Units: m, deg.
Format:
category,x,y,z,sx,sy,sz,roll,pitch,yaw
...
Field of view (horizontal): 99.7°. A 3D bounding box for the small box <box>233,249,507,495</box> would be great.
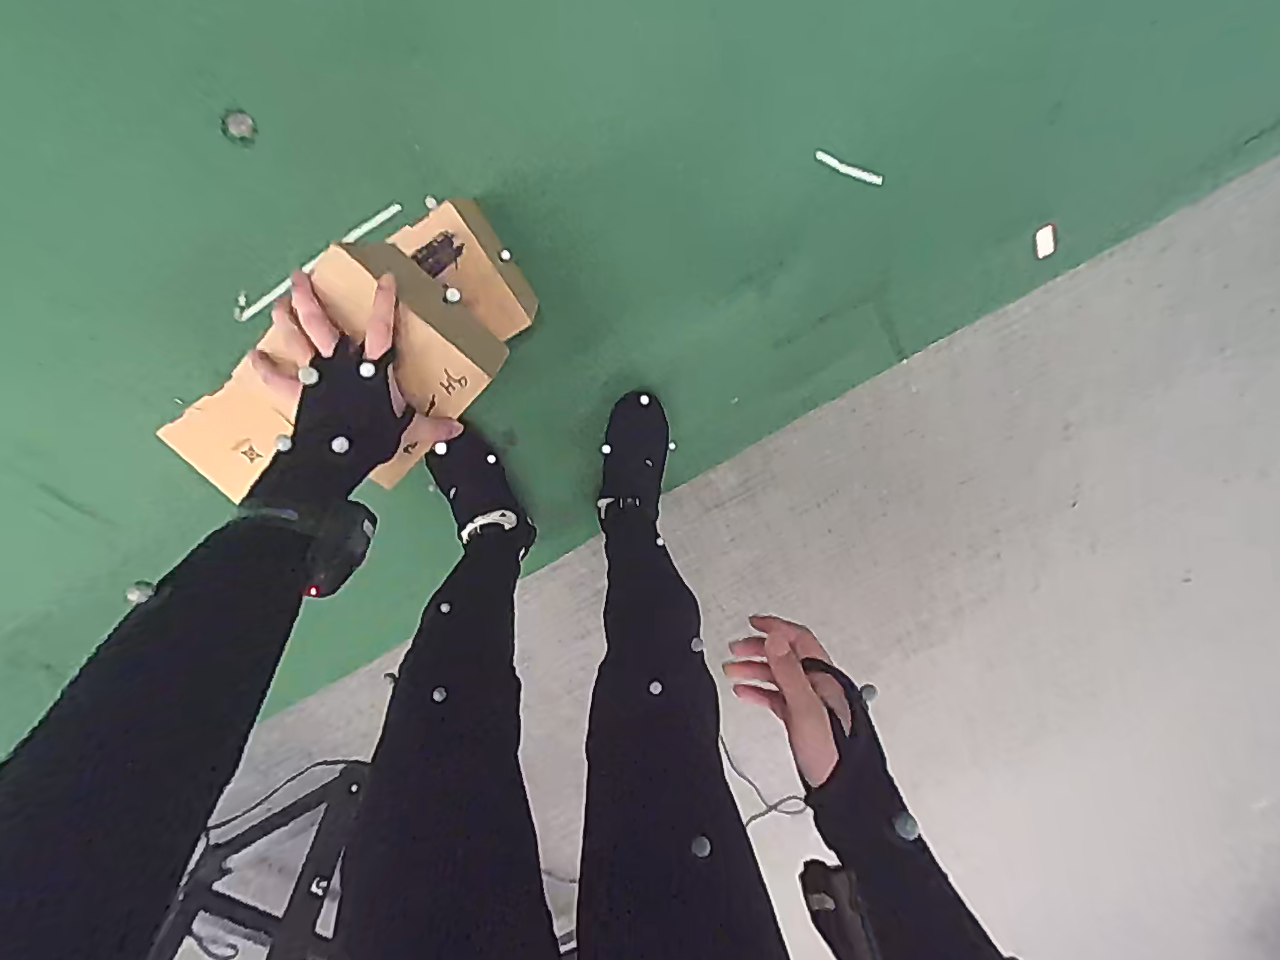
category,x,y,z,sx,sy,sz,roll,pitch,yaw
small box,-0.268,-0.121,0.584,0.168,0.176,0.179,-44,110,11
